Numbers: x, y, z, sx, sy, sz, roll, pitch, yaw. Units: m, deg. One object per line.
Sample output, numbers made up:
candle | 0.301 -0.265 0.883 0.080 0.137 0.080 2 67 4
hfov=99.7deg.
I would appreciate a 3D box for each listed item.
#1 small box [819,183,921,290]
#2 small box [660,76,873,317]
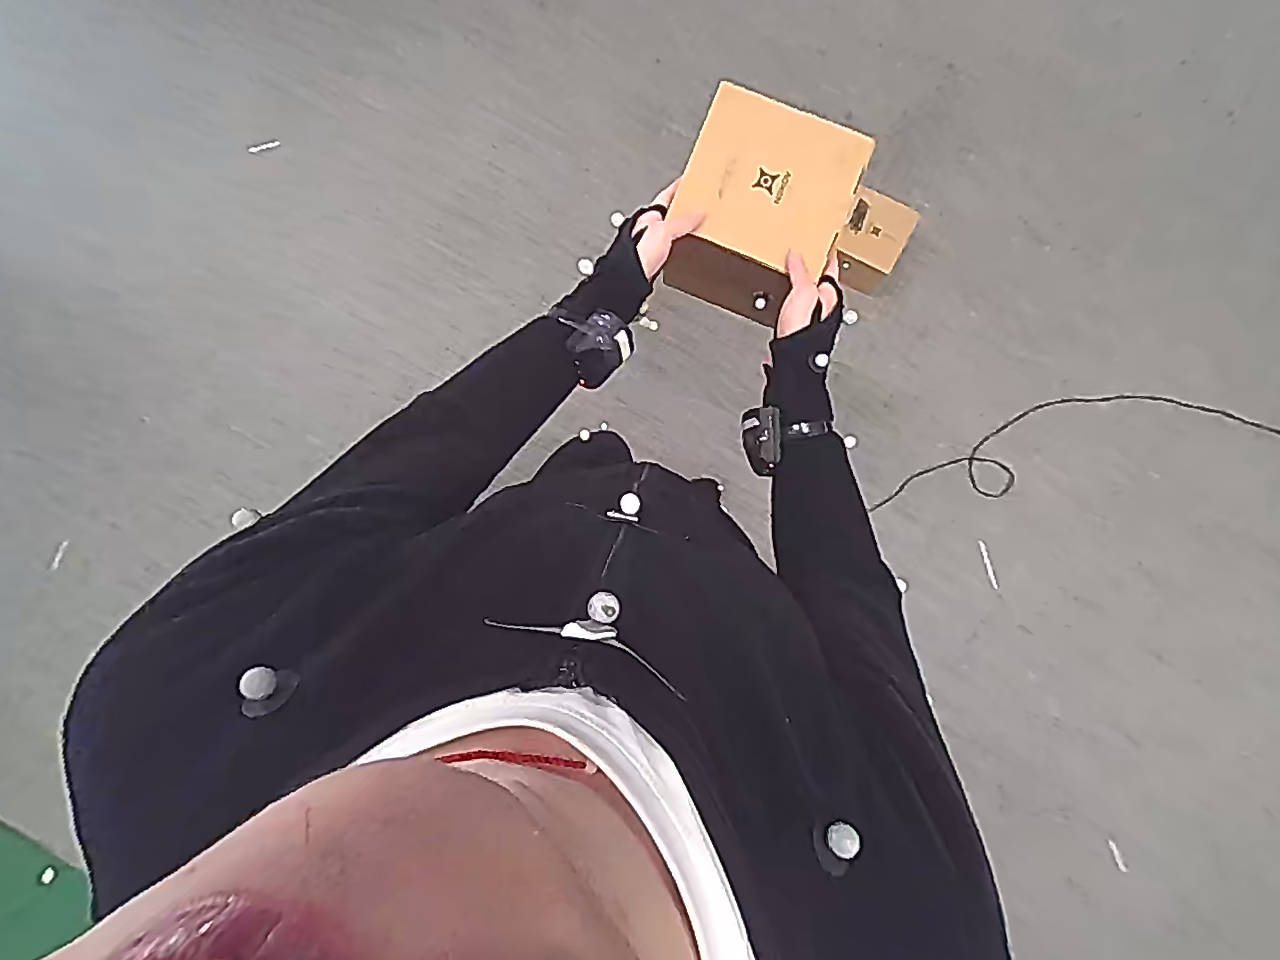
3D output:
small box | 0.582 -0.624 1.412 0.179 0.176 0.168 32 96 3
small box | 0.135 -0.315 0.643 0.179 0.176 0.168 23 89 3
